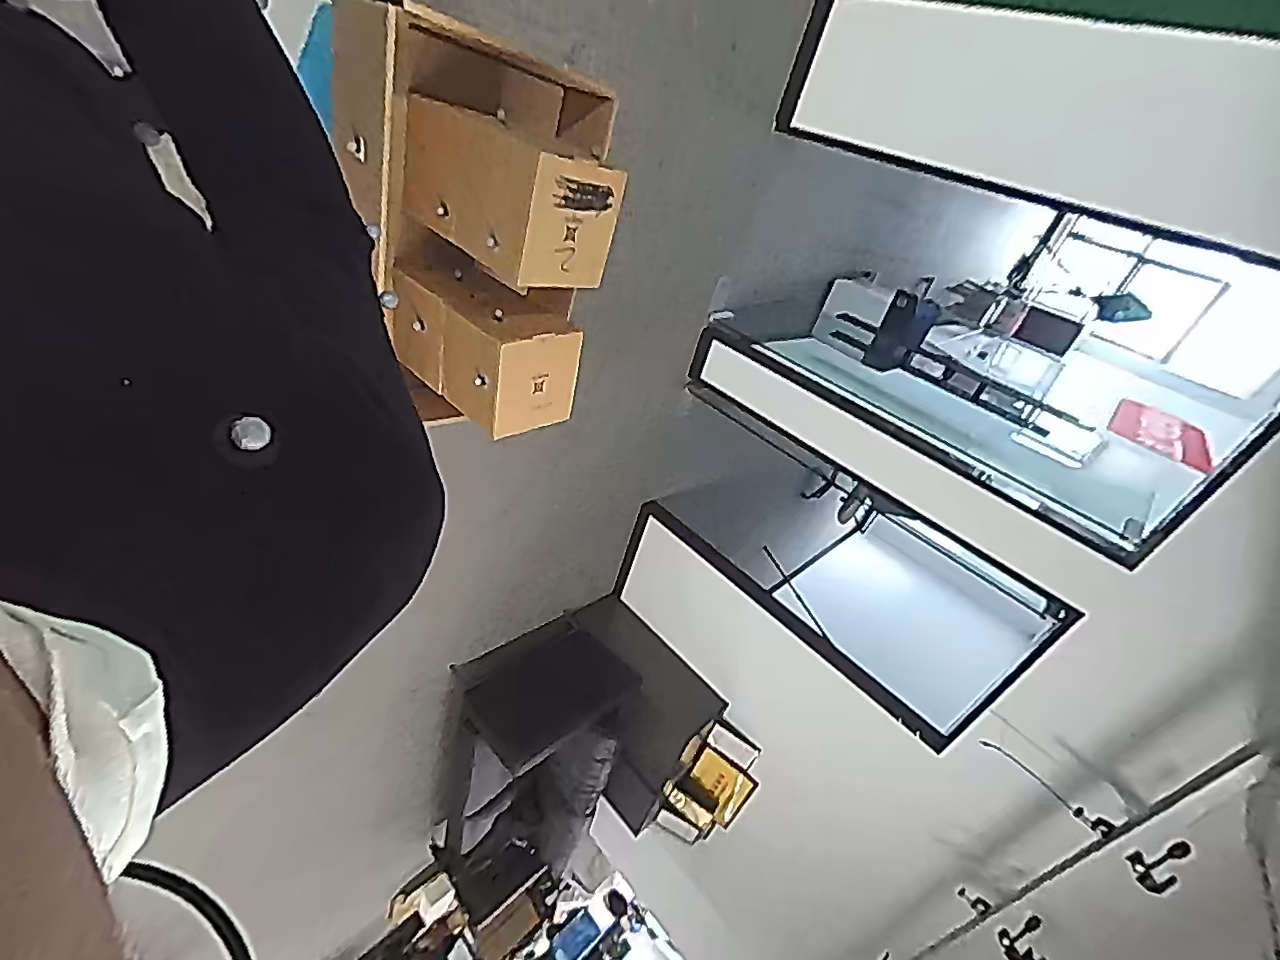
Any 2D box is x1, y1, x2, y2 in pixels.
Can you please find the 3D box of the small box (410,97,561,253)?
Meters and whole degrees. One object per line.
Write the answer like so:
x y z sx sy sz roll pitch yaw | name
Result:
-0.259 -0.496 0.889 0.168 0.176 0.179 -19 140 -45 | small box

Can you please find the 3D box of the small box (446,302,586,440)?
-0.220 -0.199 0.936 0.168 0.176 0.179 -22 139 -42 | small box
